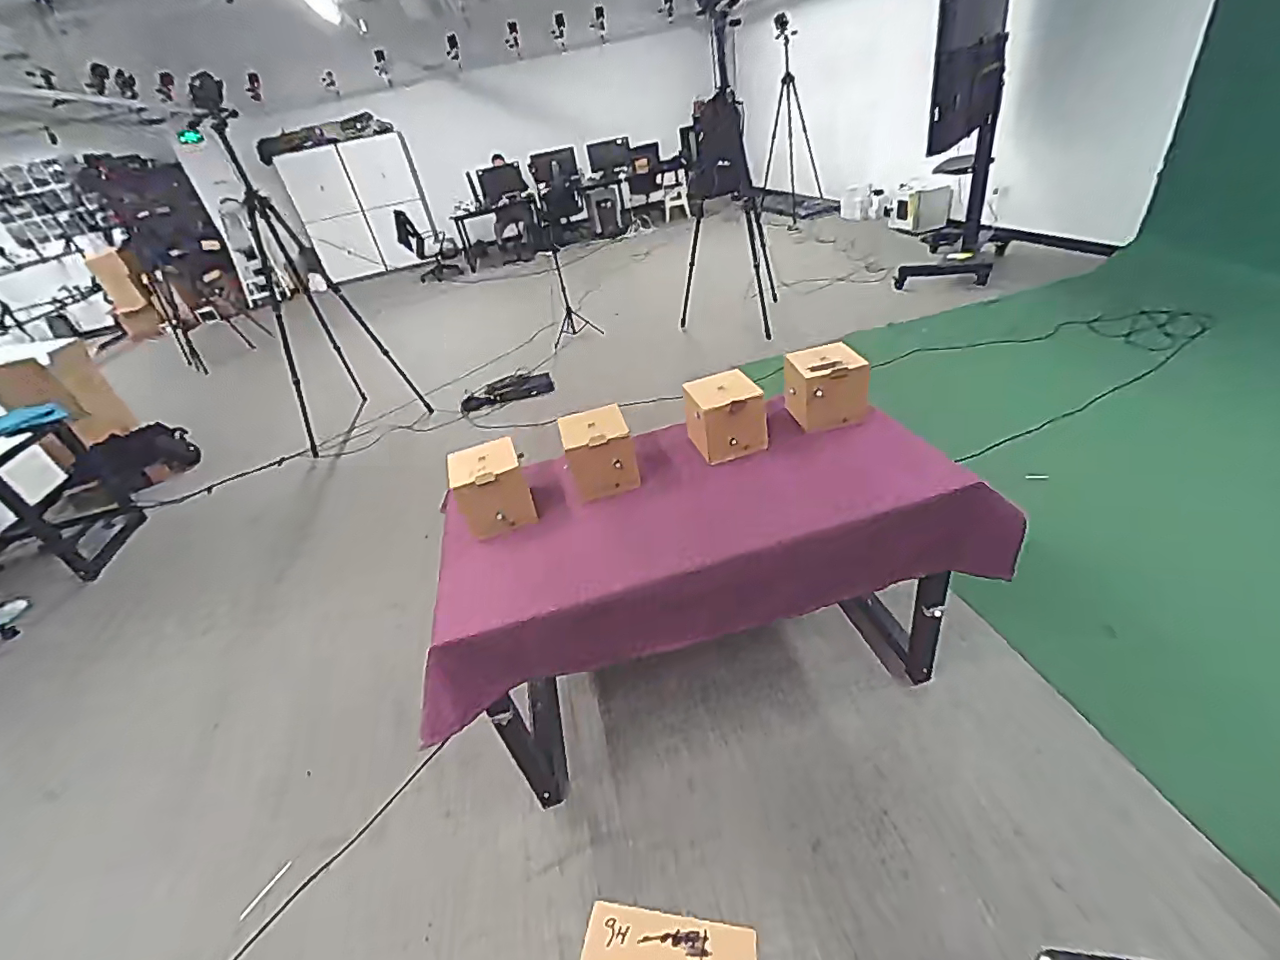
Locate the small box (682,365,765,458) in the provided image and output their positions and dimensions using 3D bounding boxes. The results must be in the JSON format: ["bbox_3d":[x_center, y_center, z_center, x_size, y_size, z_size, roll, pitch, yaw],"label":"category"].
[{"bbox_3d":[0.222,-0.185,1.448,0.168,0.176,0.179,-18,35,-6],"label":"small box"}]

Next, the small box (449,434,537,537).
[{"bbox_3d":[-0.370,0.014,1.359,0.168,0.176,0.179,-20,35,-9],"label":"small box"}]

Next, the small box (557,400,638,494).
[{"bbox_3d":[-0.109,-0.080,1.409,0.168,0.176,0.179,-15,34,-5],"label":"small box"}]
